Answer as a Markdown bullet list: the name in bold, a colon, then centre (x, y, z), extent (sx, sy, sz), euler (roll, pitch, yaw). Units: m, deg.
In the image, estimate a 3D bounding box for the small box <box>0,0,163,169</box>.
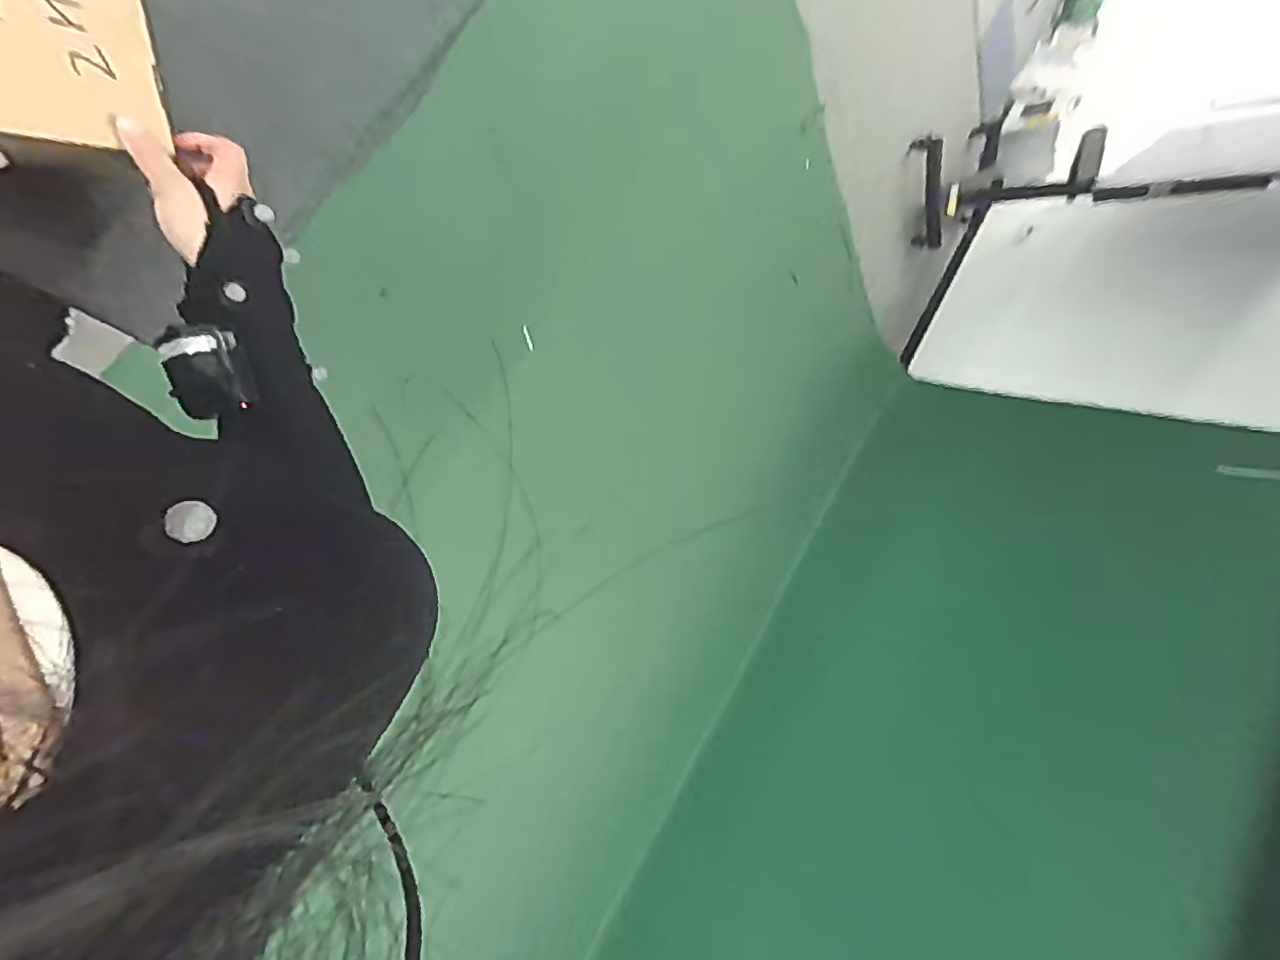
- **small box**: centre (-0.468, -0.322, 0.366), extent (0.179, 0.176, 0.168), euler (-20, 119, -45)
